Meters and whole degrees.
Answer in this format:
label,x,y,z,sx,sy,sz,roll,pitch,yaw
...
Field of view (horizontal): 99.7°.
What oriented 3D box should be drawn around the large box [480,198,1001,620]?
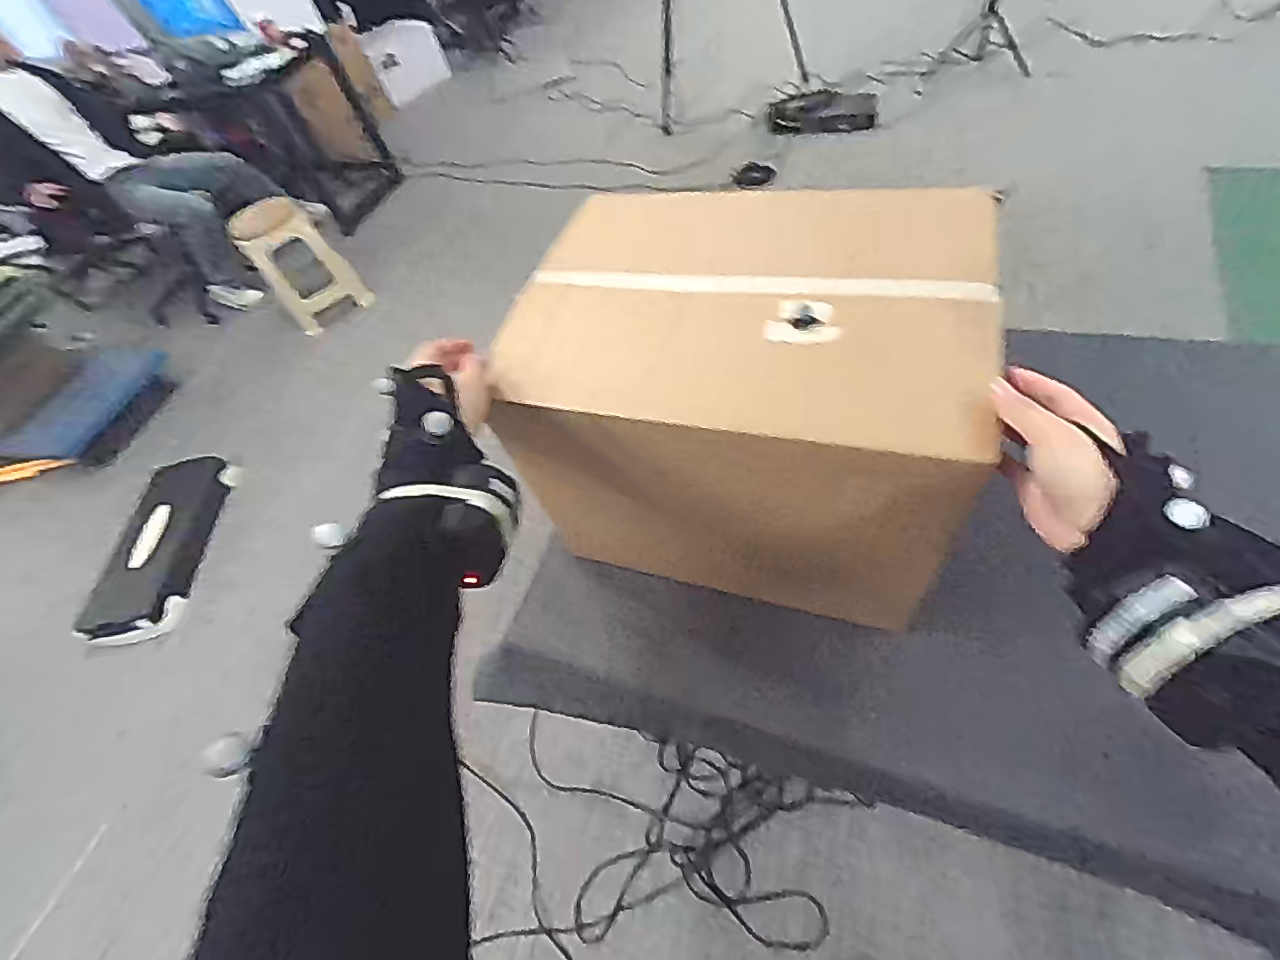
label,x,y,z,sx,sy,sz,roll,pitch,yaw
large box,0.114,-0.082,0.600,0.408,0.320,0.320,10,59,19
